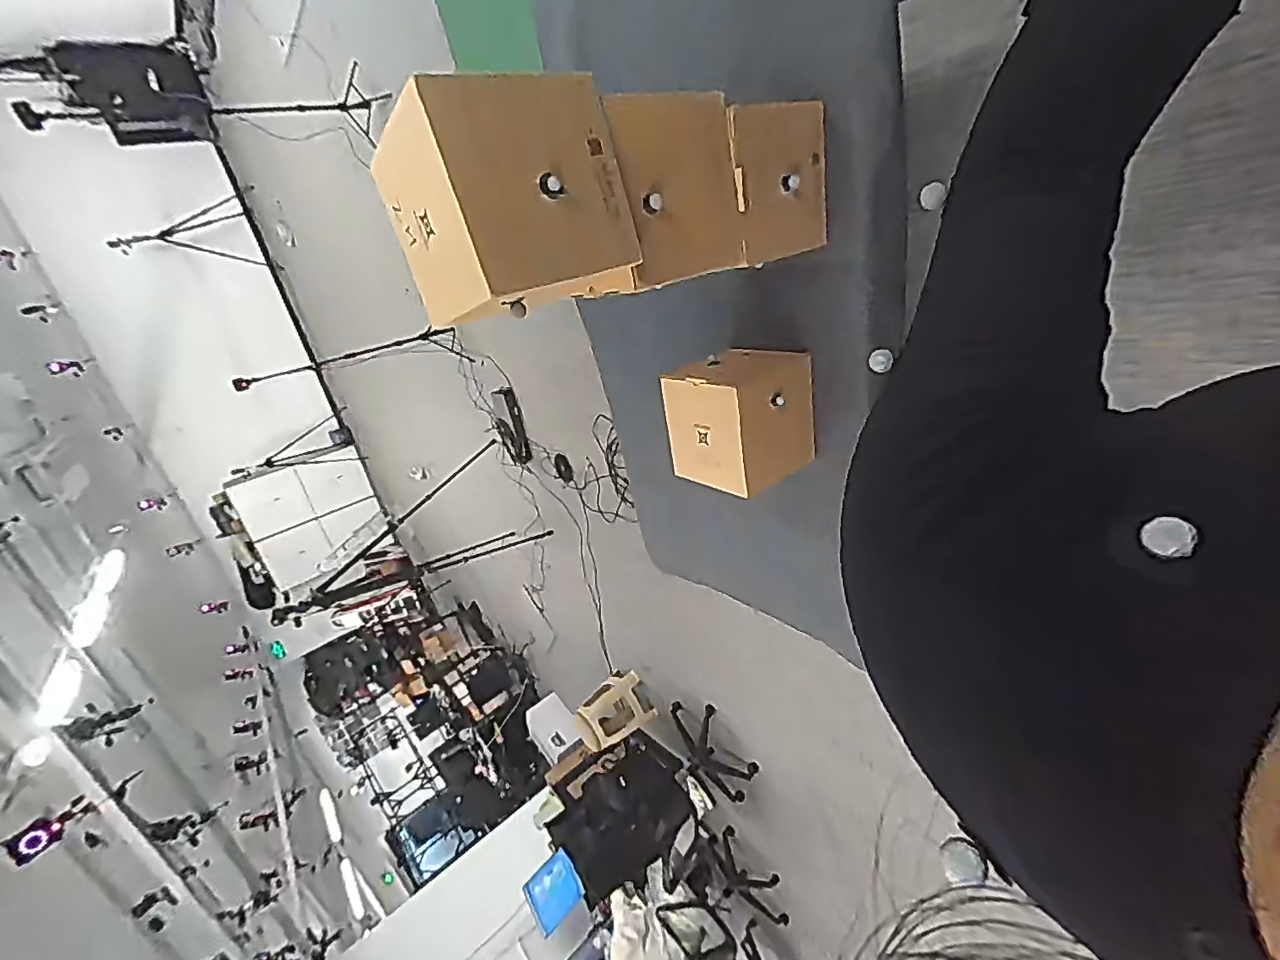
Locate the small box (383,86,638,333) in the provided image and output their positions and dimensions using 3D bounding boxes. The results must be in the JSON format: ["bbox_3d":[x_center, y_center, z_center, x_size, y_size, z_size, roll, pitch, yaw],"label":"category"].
[{"bbox_3d":[-0.119,-0.257,0.531,0.179,0.176,0.168,7,119,55],"label":"small box"}]

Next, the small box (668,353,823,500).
[{"bbox_3d":[0.172,-0.095,0.860,0.168,0.176,0.179,20,130,50],"label":"small box"}]

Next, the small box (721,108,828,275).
[{"bbox_3d":[0.131,-0.371,0.711,0.179,0.176,0.168,20,129,49],"label":"small box"}]

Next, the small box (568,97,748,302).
[{"bbox_3d":[0.004,-0.316,0.624,0.168,0.176,0.179,18,128,50],"label":"small box"}]
